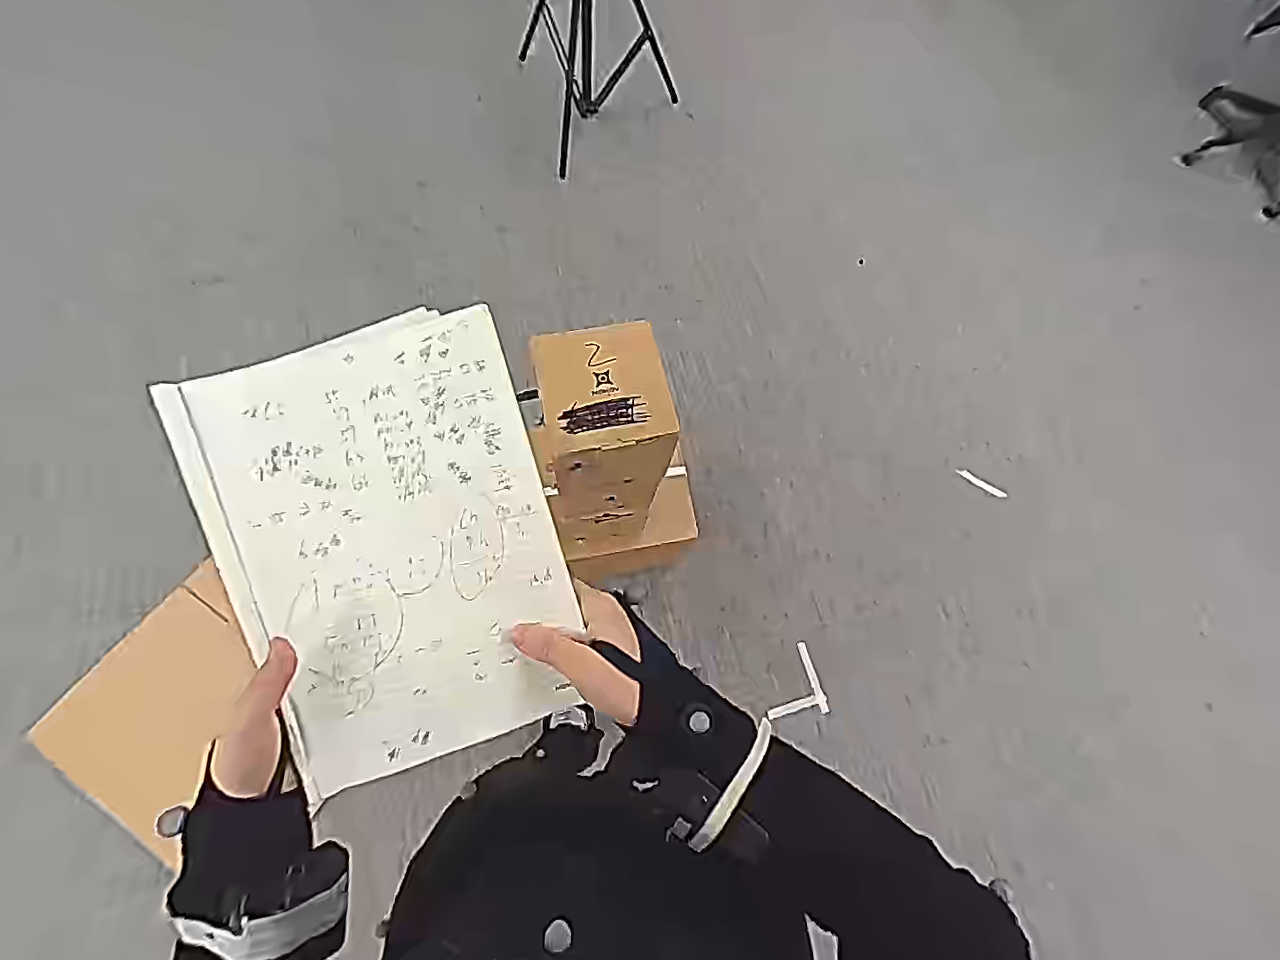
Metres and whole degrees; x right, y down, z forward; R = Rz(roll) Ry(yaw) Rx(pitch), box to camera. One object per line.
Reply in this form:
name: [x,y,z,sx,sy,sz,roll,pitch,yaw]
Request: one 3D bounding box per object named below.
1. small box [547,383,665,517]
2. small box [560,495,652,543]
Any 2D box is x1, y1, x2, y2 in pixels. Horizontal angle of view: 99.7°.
small box: [-0.062,-0.042,0.926,0.168,0.176,0.179,-9,72,-9]
small box: [-0.074,0.023,1.077,0.168,0.176,0.179,-6,70,-8]
